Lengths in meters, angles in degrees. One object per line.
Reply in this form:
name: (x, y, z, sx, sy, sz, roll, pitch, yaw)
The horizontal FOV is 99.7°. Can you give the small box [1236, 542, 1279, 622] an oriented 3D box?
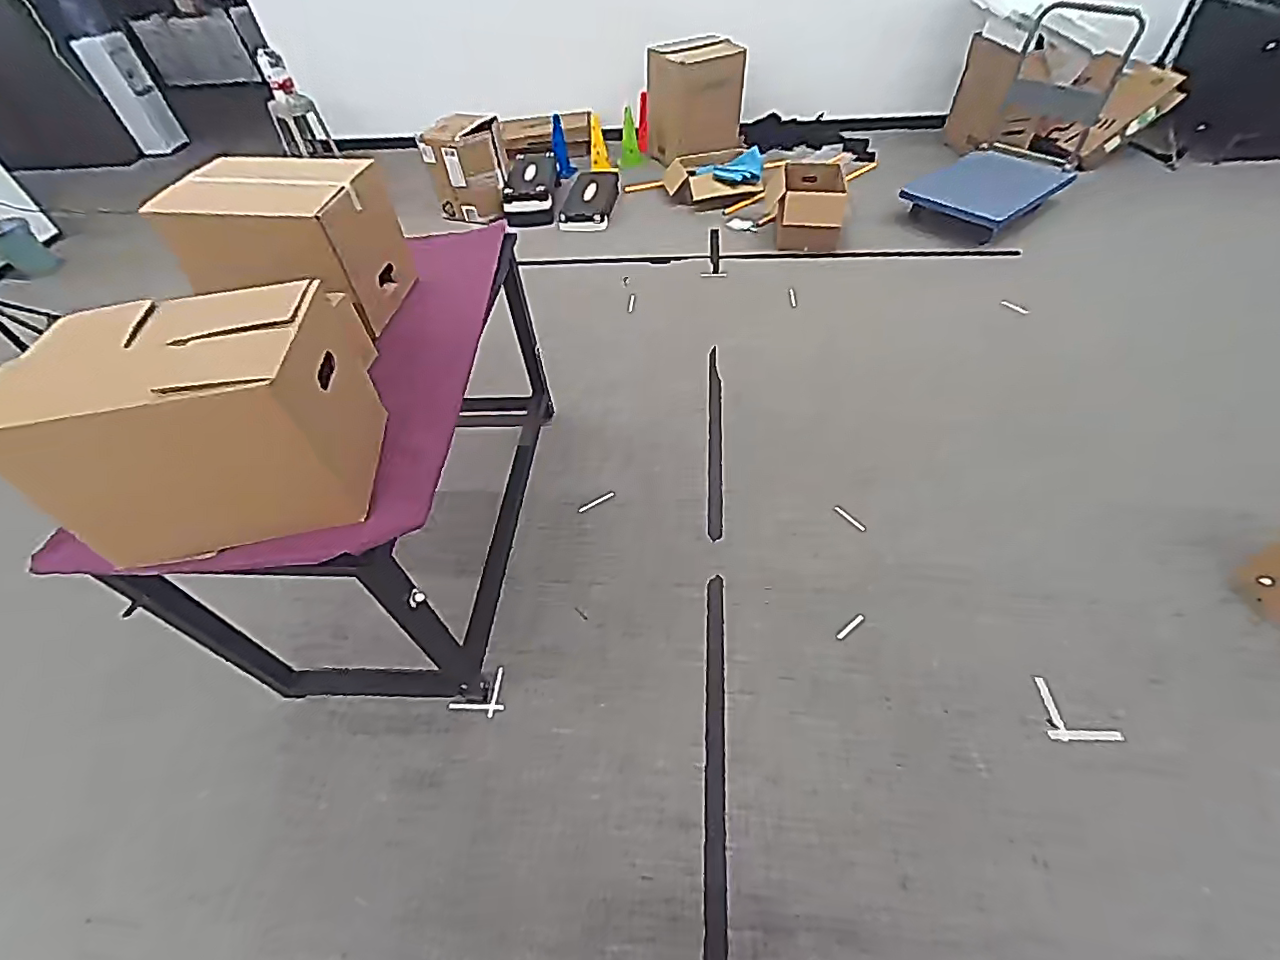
small box: (1.824, 0.283, 1.487, 0.179, 0.176, 0.168, 0, 49, 3)
